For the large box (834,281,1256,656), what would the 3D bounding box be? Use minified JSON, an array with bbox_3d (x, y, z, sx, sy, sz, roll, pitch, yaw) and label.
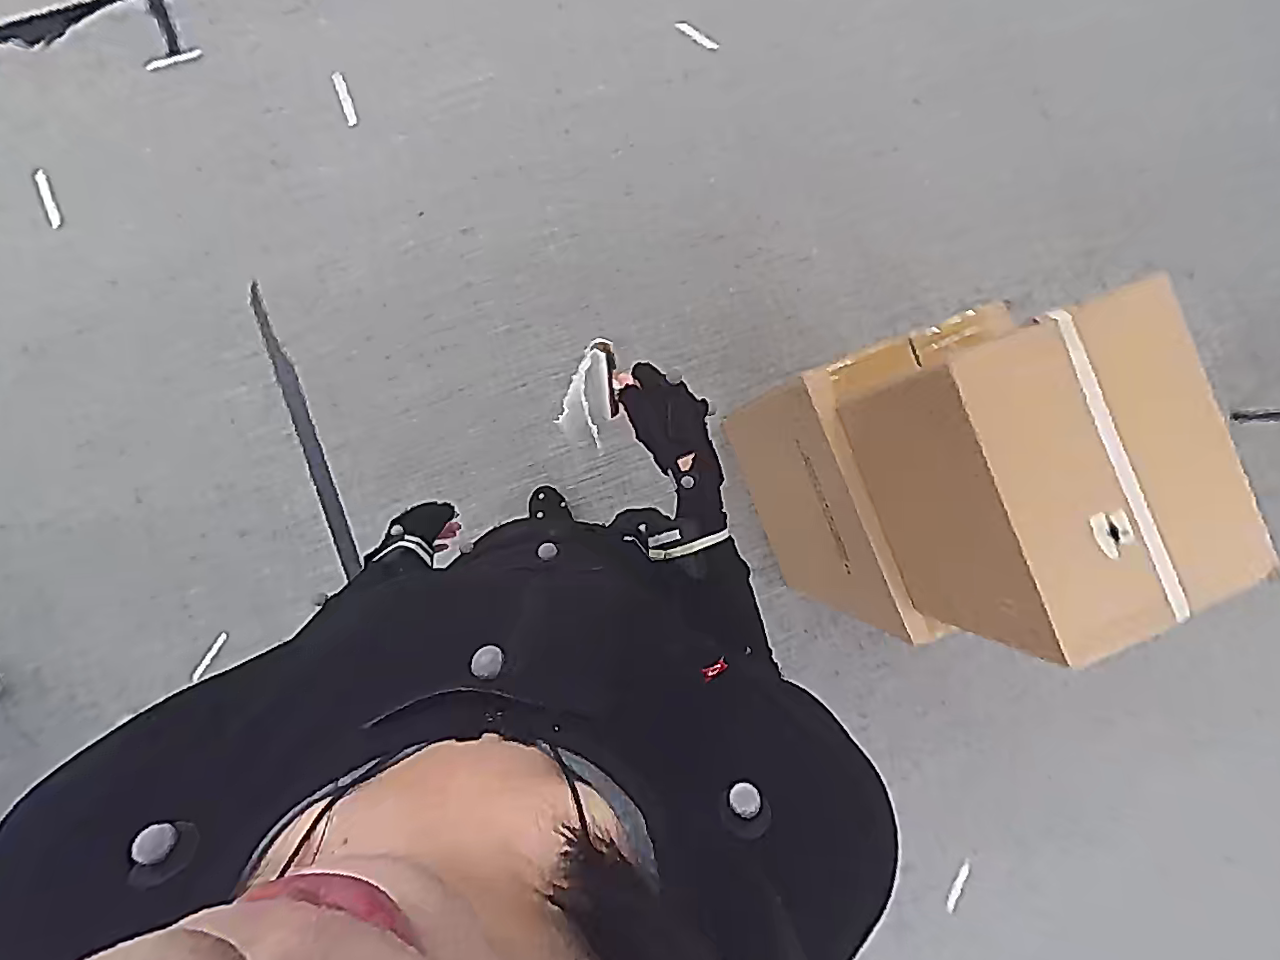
[{"bbox_3d":[0.566,-0.016,0.828,0.320,0.320,0.408,-22,91,-5],"label":"large box"}]
